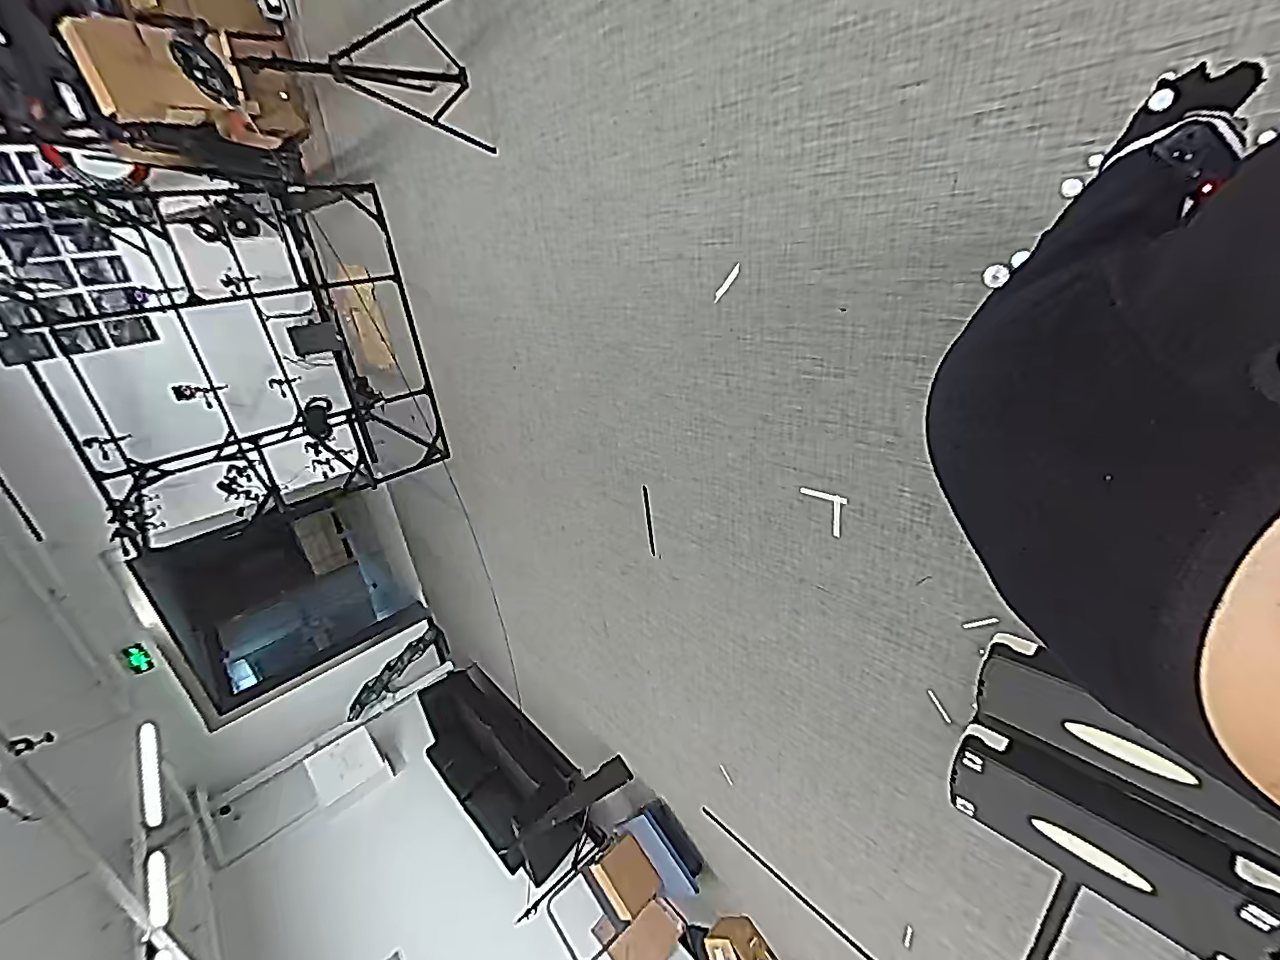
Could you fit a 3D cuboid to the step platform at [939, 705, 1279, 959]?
[{"bbox_3d":[1.202,0.926,1.470,0.684,0.204,0.286,20,125,46],"label":"step platform"}]
